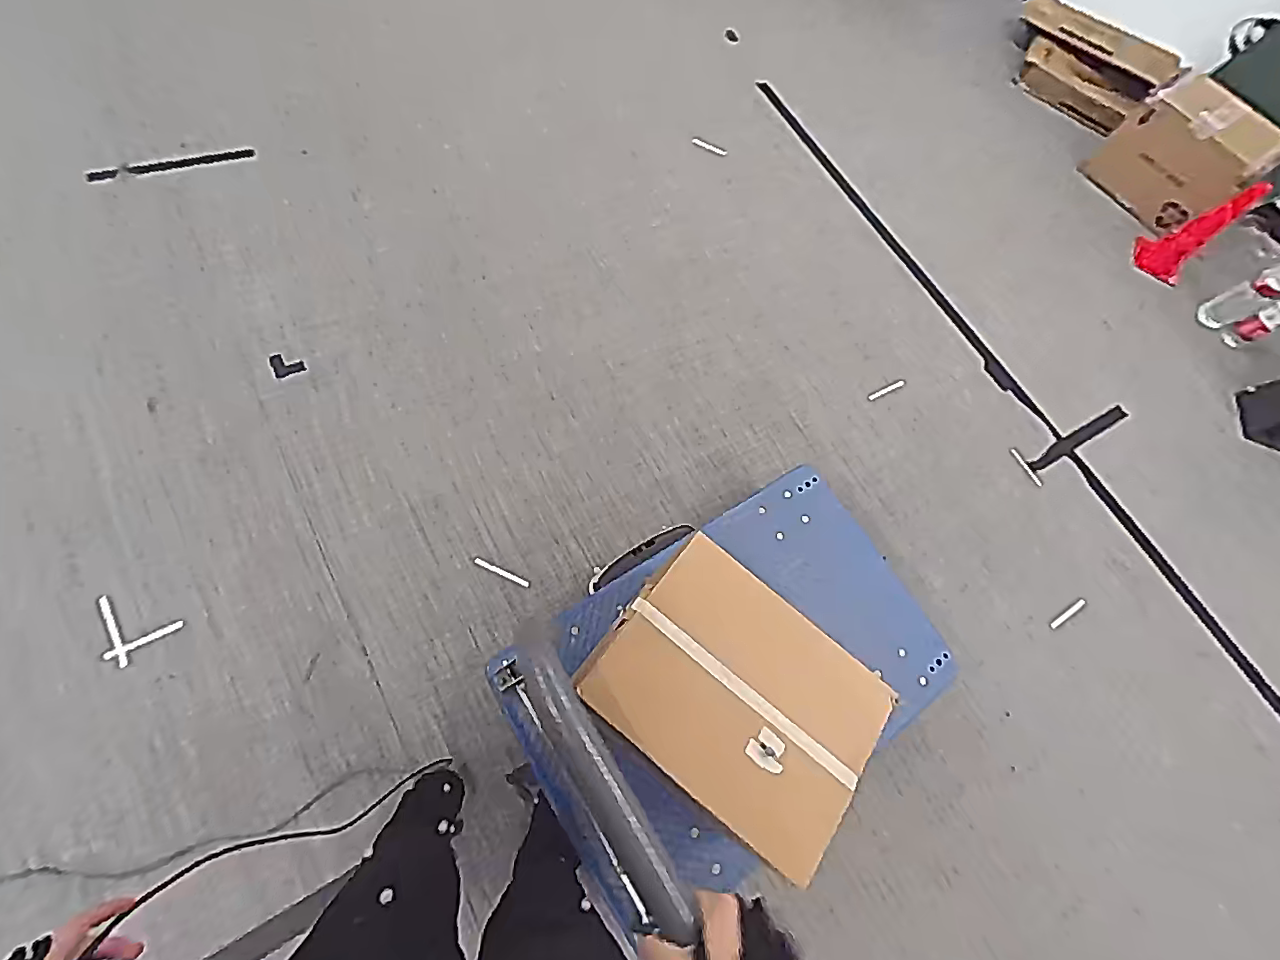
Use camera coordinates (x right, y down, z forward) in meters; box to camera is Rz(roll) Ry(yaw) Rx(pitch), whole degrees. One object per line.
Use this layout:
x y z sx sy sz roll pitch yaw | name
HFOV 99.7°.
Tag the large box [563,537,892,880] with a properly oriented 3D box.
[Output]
0.124 0.369 0.939 0.408 0.320 0.320 40 67 4 | large box
